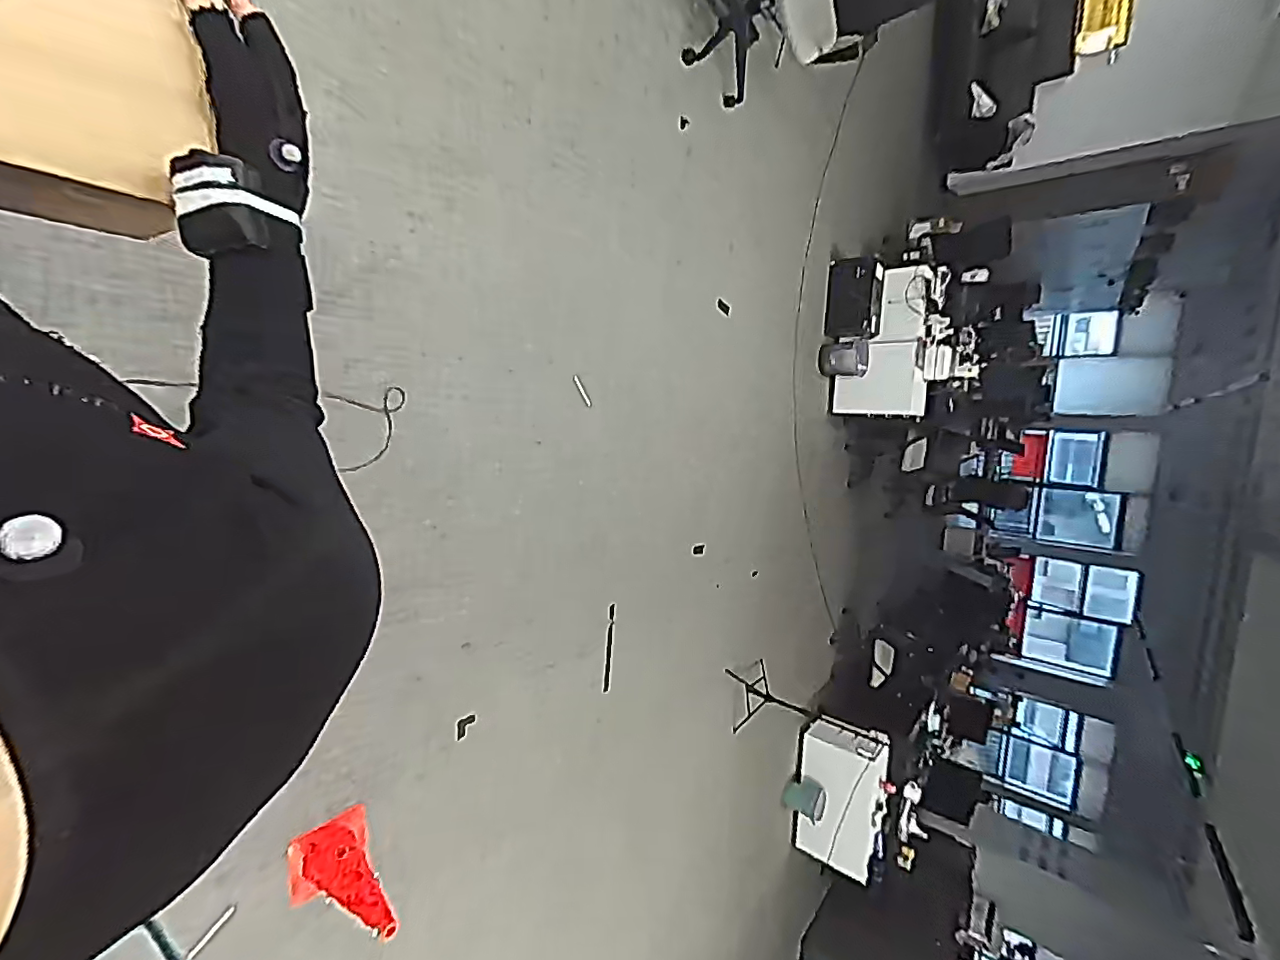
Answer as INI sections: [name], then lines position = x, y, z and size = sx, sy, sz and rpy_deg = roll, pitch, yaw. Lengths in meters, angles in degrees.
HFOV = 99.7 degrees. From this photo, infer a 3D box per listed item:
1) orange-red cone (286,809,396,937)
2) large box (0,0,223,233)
[orange-red cone]
position = -0.745, 1.068, 1.409
size = 0.198, 0.360, 0.199
rpy_deg = -8, 101, -52
[large box]
position = -0.561, -0.383, 0.347
size = 0.408, 0.320, 0.320
rpy_deg = -5, 107, -51
